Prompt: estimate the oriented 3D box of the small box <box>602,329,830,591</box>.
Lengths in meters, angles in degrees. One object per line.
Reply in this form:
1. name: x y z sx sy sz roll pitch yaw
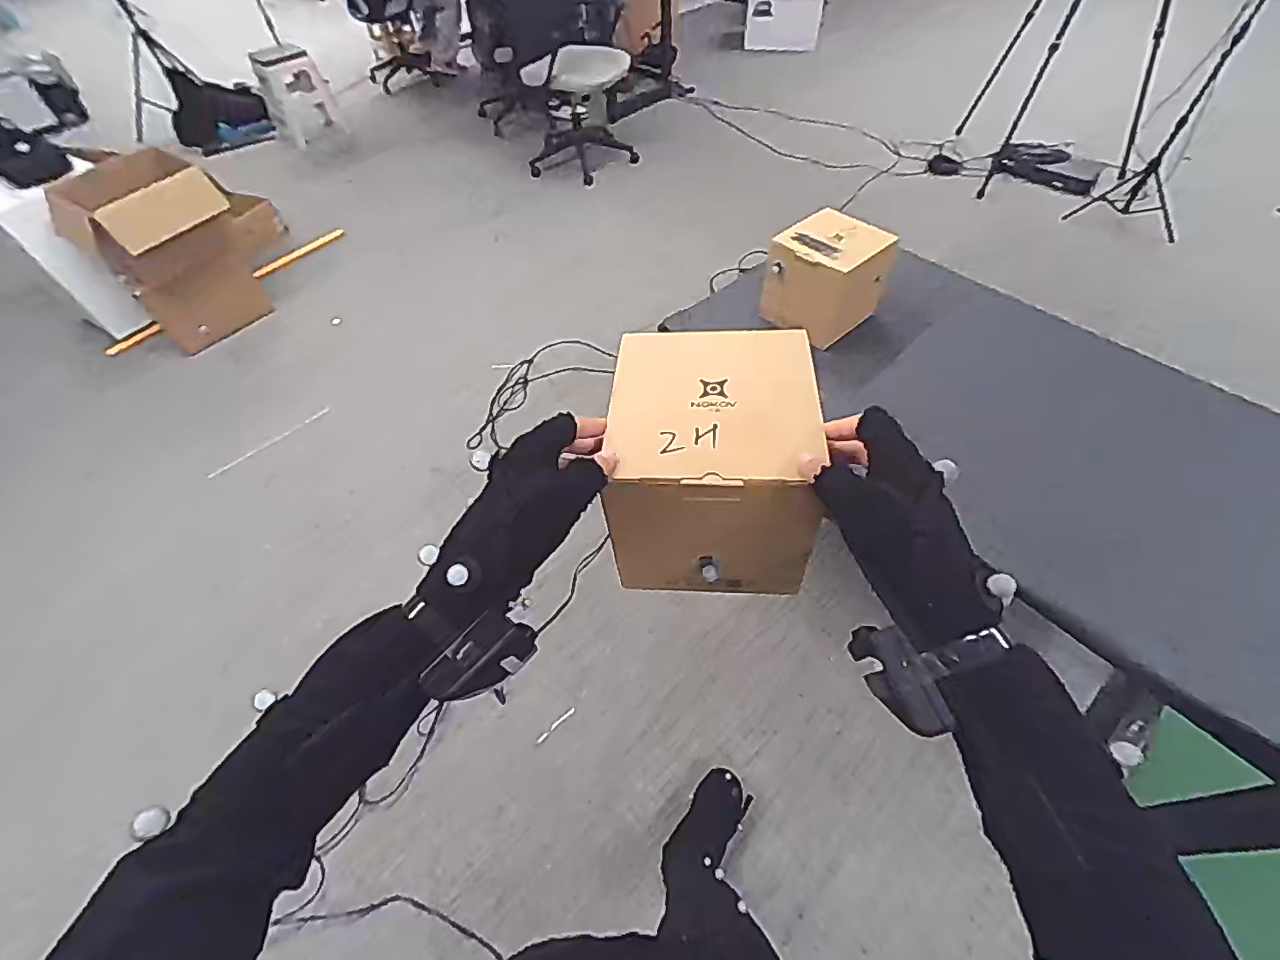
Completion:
1. small box: 0.067 -0.018 0.498 0.168 0.176 0.179 1 52 7
